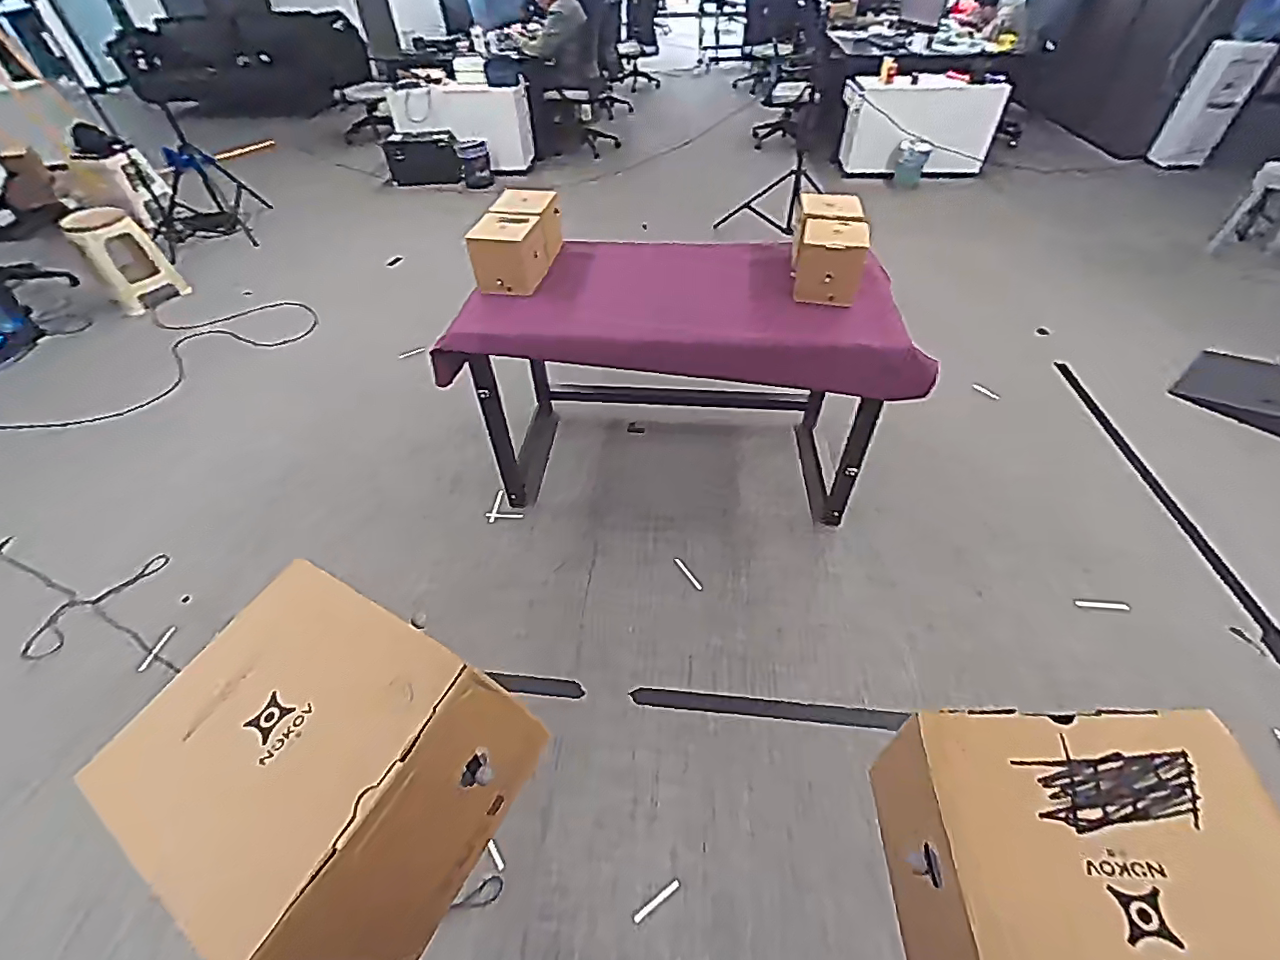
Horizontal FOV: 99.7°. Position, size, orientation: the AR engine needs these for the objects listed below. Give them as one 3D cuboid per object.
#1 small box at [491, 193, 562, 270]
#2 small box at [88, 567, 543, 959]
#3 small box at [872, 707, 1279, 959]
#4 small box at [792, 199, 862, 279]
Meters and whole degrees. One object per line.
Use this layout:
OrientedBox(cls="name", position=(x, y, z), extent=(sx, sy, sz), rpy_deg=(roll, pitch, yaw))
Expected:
OrientedBox(cls="small box", position=(-0.353, -0.792, 1.721), extent=(0.168, 0.176, 0.179), rpy_deg=(6, 48, 8))
OrientedBox(cls="small box", position=(-0.195, 0.195, 0.377), extent=(0.179, 0.176, 0.168), rpy_deg=(18, 57, 25))
OrientedBox(cls="small box", position=(0.258, 0.256, 0.335), extent=(0.168, 0.176, 0.179), rpy_deg=(-4, 51, 8))
OrientedBox(cls="small box", position=(0.561, -0.735, 1.646), extent=(0.168, 0.176, 0.179), rpy_deg=(6, 46, 7))
